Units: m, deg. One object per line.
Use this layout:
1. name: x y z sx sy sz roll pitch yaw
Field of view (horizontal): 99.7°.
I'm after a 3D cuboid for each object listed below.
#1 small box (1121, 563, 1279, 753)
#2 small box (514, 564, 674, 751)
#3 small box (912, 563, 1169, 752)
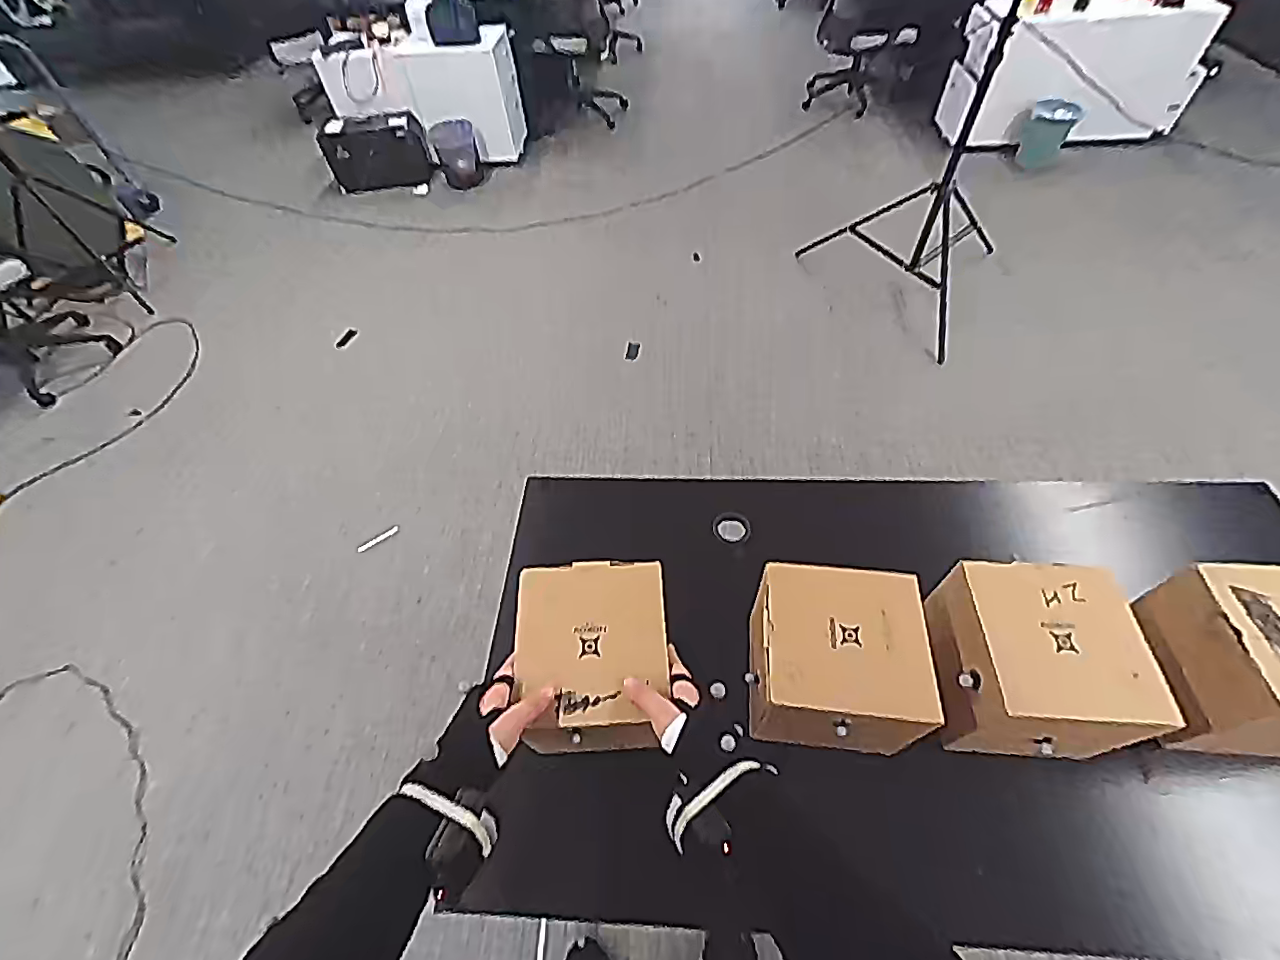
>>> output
1. small box: 0.717 0.214 0.640 0.179 0.176 0.168 2 53 5
2. small box: -0.049 0.219 0.660 0.168 0.176 0.179 -3 56 0
3. small box: 0.457 0.219 0.656 0.168 0.176 0.179 2 53 5
